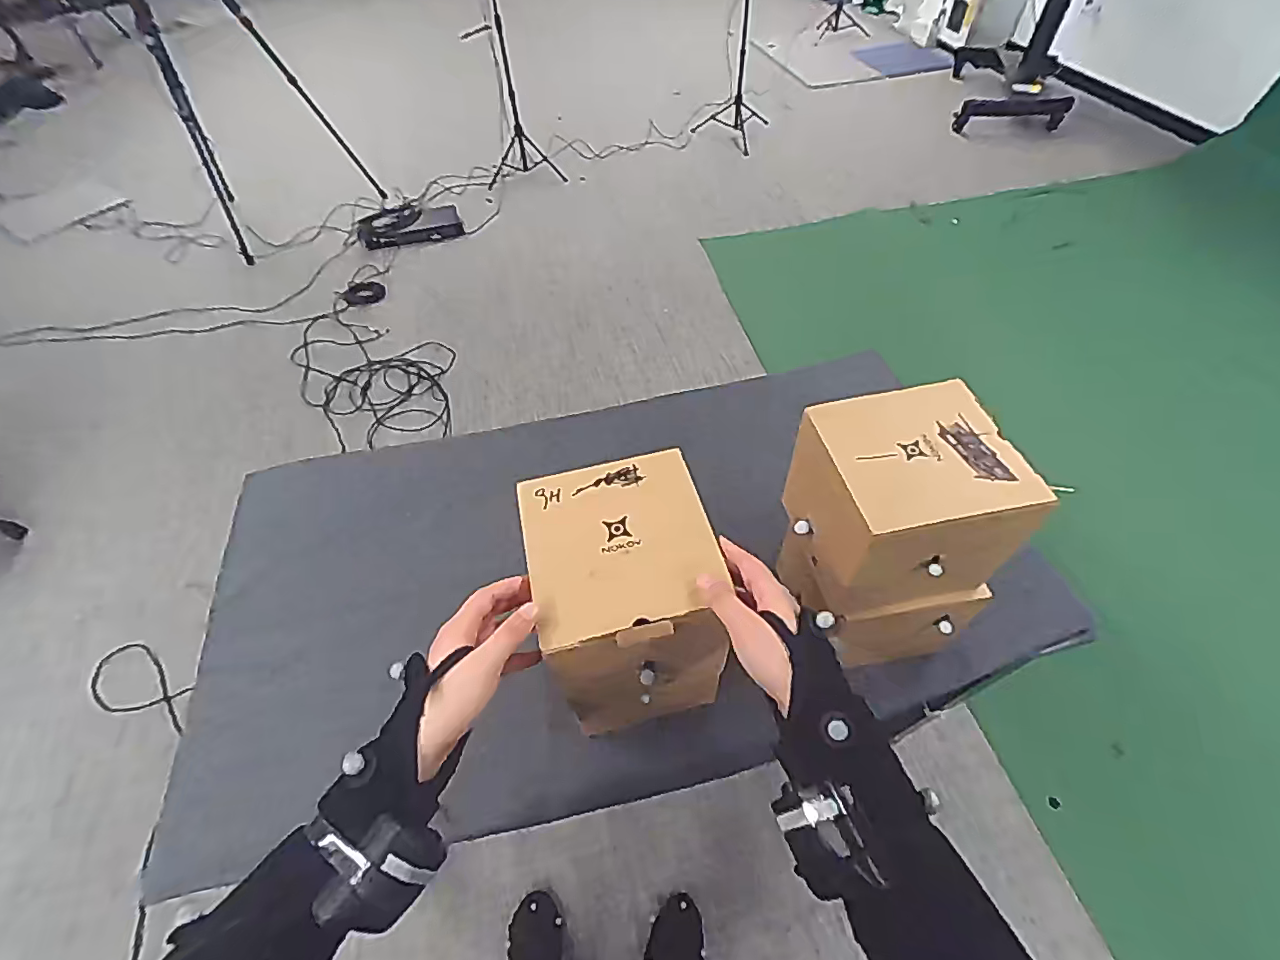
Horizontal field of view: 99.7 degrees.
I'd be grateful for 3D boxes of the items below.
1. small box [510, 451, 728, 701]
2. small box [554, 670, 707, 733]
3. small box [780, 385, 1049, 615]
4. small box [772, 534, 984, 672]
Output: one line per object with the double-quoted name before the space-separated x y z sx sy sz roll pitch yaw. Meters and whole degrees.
"small box" -0.022 0.102 0.535 0.168 0.176 0.179 -12 53 -7
"small box" -0.019 0.194 0.672 0.179 0.176 0.168 -12 53 -8
"small box" 0.268 0.025 0.580 0.179 0.176 0.168 -10 52 -4
"small box" 0.289 0.133 0.704 0.179 0.176 0.168 -8 51 -3
